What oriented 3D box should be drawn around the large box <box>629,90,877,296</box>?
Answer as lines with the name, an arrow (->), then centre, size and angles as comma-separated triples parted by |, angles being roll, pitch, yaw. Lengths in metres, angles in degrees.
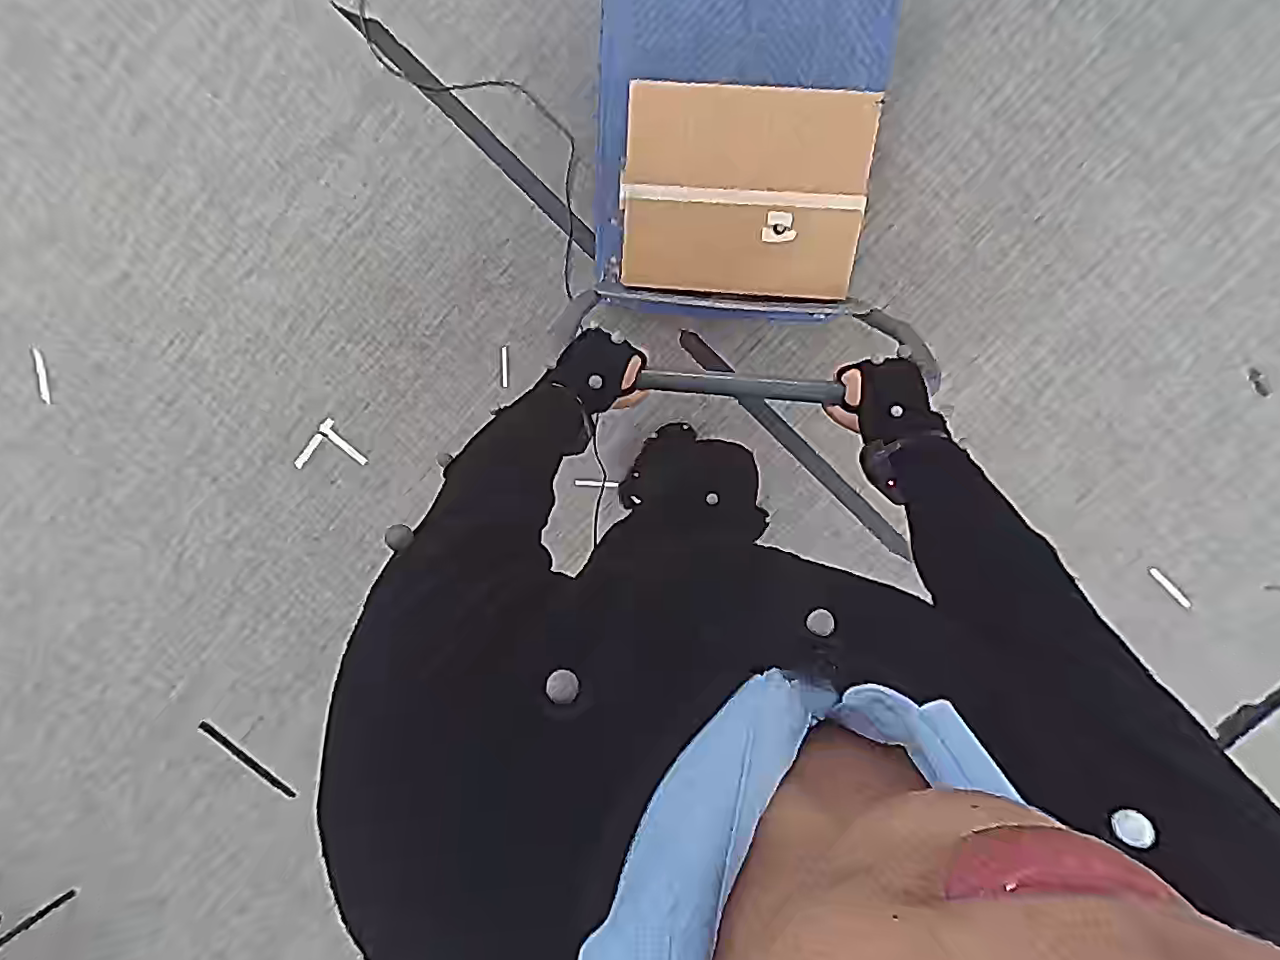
large box -> 0.187, -0.539, 1.067 | 0.408, 0.320, 0.320 | 3, 113, 2
